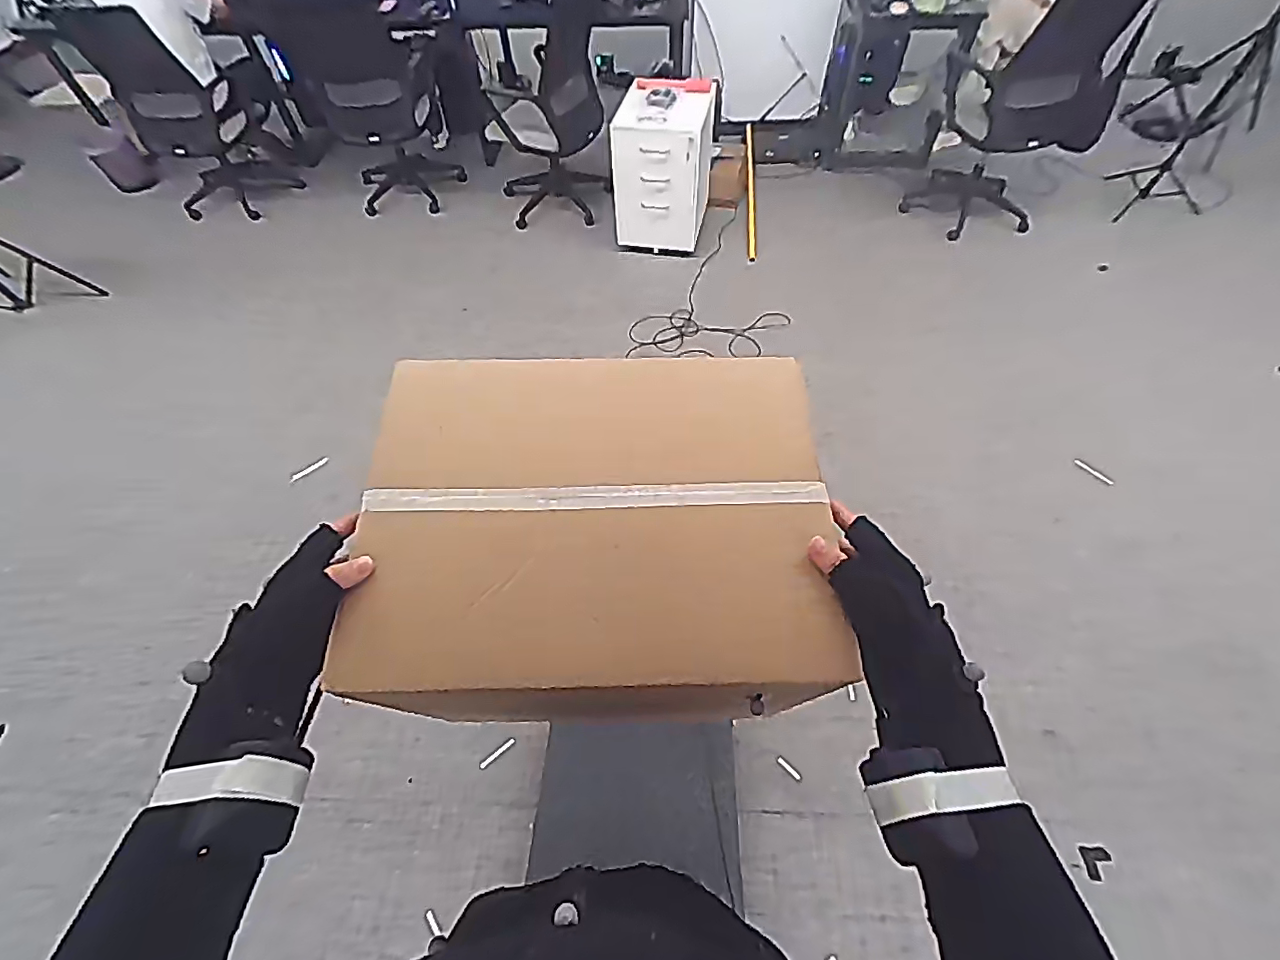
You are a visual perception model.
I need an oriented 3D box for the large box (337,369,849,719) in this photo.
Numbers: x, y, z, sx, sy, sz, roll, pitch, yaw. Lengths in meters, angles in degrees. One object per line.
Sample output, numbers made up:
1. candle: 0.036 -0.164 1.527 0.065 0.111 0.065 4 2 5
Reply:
1. large box: -0.039 0.093 0.615 0.408 0.320 0.320 0 62 -2
